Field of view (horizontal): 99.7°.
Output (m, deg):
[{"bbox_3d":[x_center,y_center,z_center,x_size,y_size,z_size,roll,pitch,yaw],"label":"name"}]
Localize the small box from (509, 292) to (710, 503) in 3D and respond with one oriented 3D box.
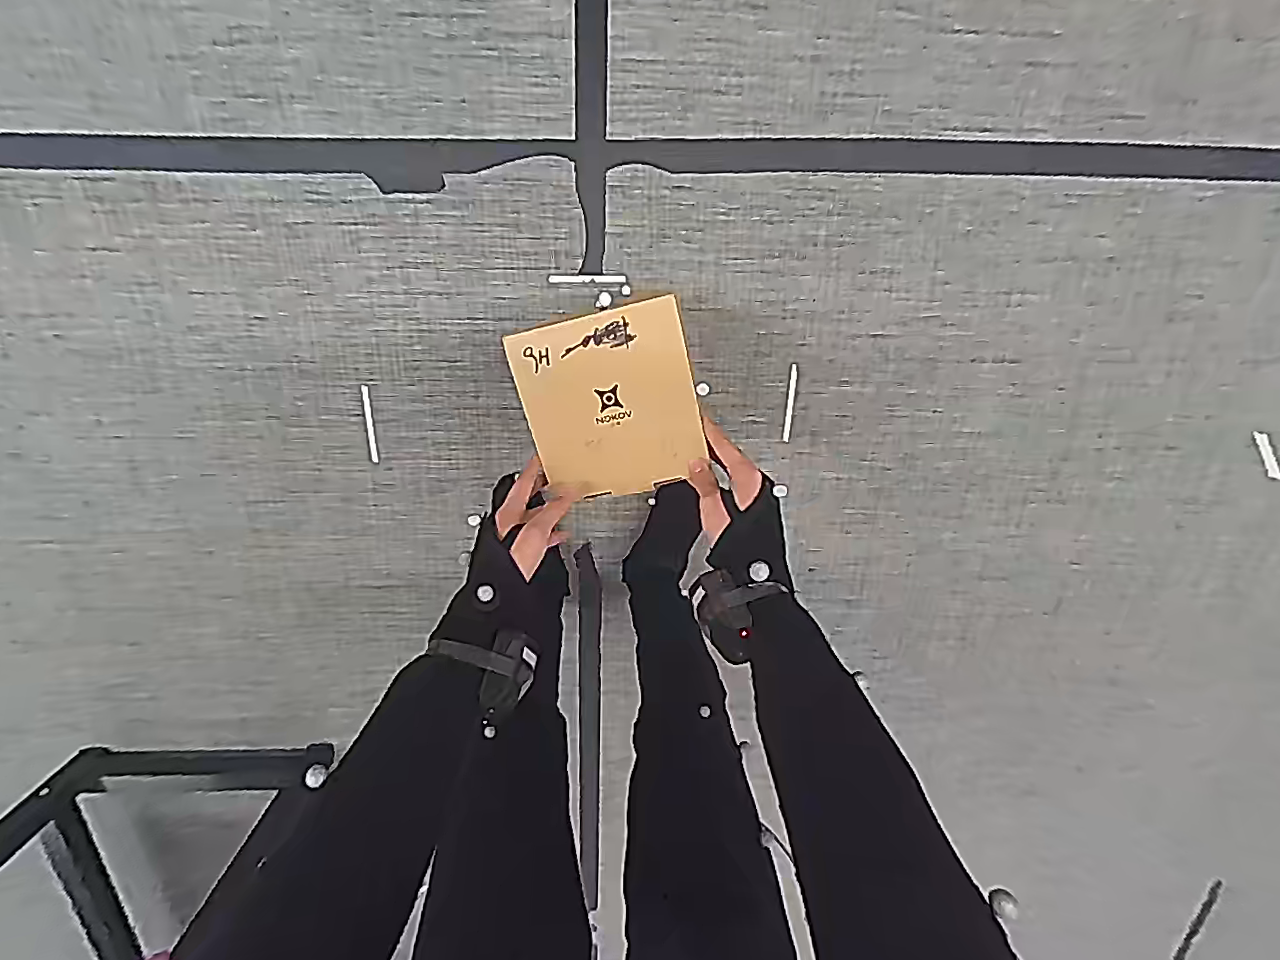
[{"bbox_3d":[-0.019,-0.098,0.597,0.168,0.176,0.179,-12,110,8],"label":"small box"}]
